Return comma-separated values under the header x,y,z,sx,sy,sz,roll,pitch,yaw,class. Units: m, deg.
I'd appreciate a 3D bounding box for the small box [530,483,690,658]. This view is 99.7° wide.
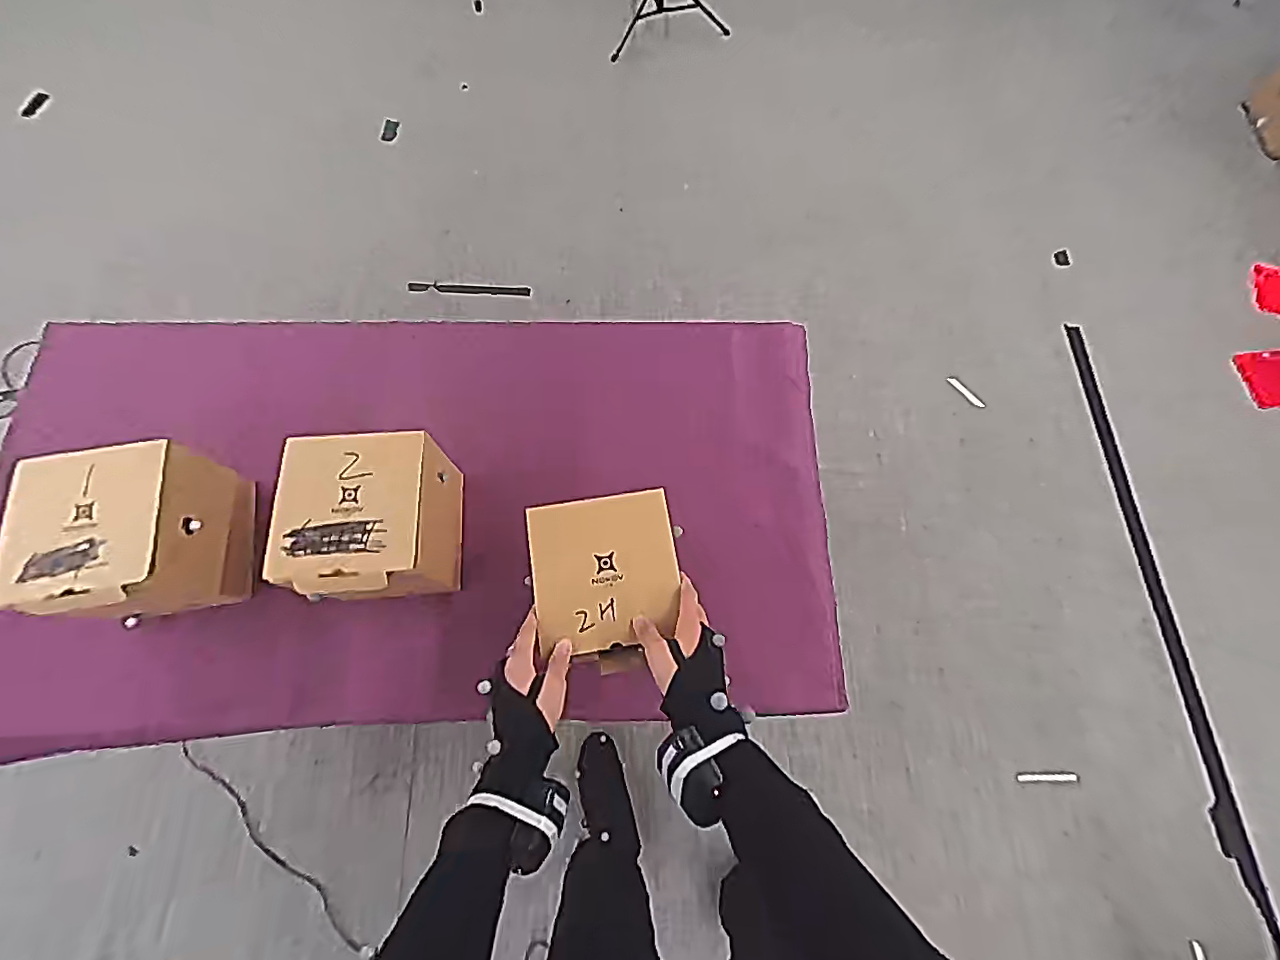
x,y,z,sx,sy,sz,roll,pitch,yaw,class
-0.039,0.121,0.678,0.168,0.176,0.179,-8,71,-4,small box

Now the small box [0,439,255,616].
x,y,z,sx,sy,sz,roll,pitch,yaw,class
-0.621,0.070,0.678,0.168,0.176,0.179,-9,71,-5,small box
